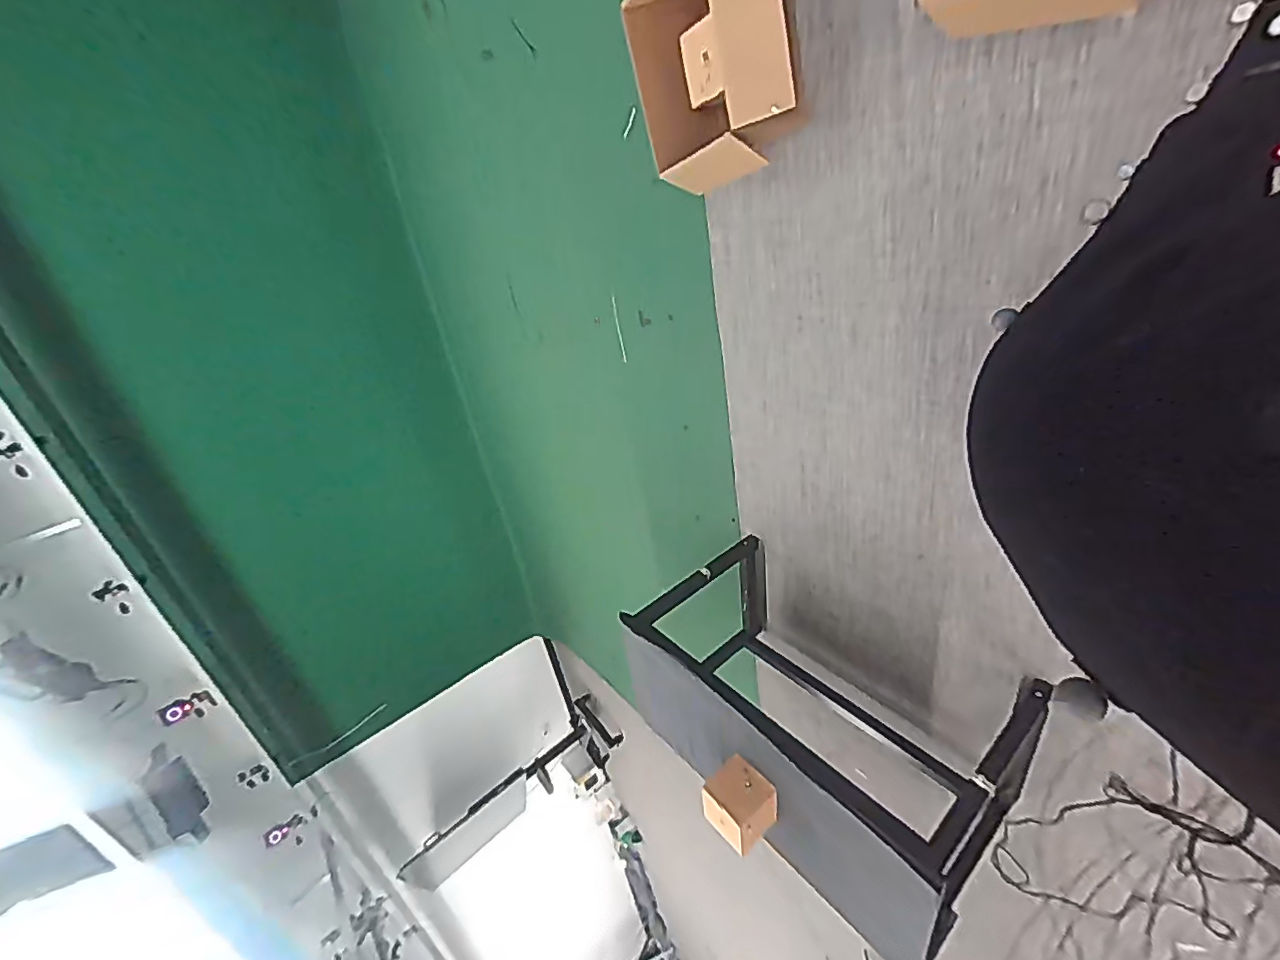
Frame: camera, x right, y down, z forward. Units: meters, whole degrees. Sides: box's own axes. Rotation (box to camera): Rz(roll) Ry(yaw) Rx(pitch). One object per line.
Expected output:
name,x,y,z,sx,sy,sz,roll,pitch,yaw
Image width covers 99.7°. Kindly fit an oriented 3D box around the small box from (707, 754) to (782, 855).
small box,0.332,1.019,1.708,0.168,0.176,0.179,27,135,46
